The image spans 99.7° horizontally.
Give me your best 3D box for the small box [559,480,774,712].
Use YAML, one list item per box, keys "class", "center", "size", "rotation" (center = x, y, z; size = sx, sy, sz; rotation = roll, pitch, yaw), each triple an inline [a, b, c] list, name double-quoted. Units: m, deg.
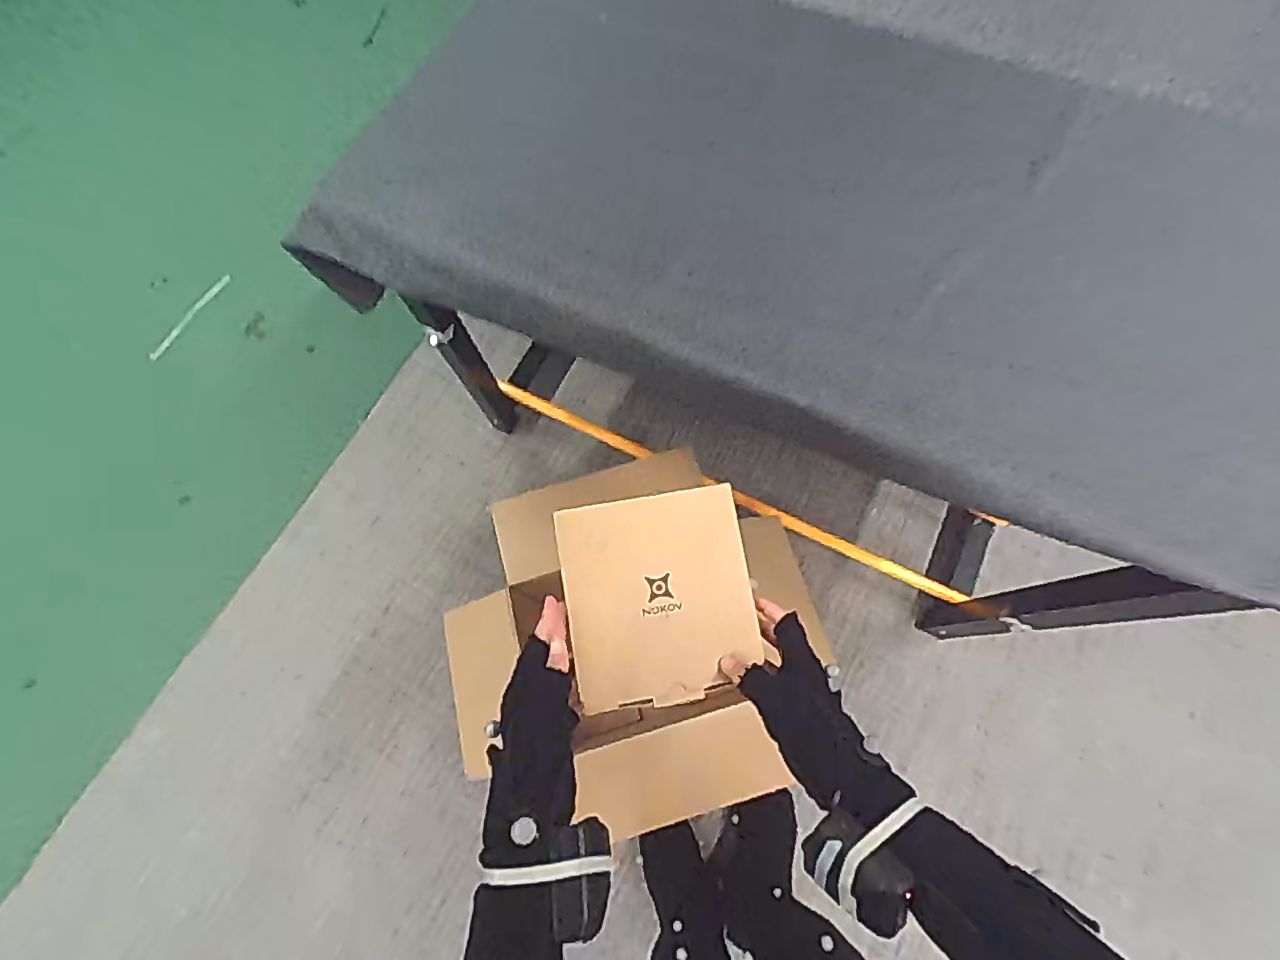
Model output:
- class: "small box"
  center: [0.014, 0.111, 0.548]
  size: [0.168, 0.176, 0.179]
  rotation: [-10, 82, -6]
